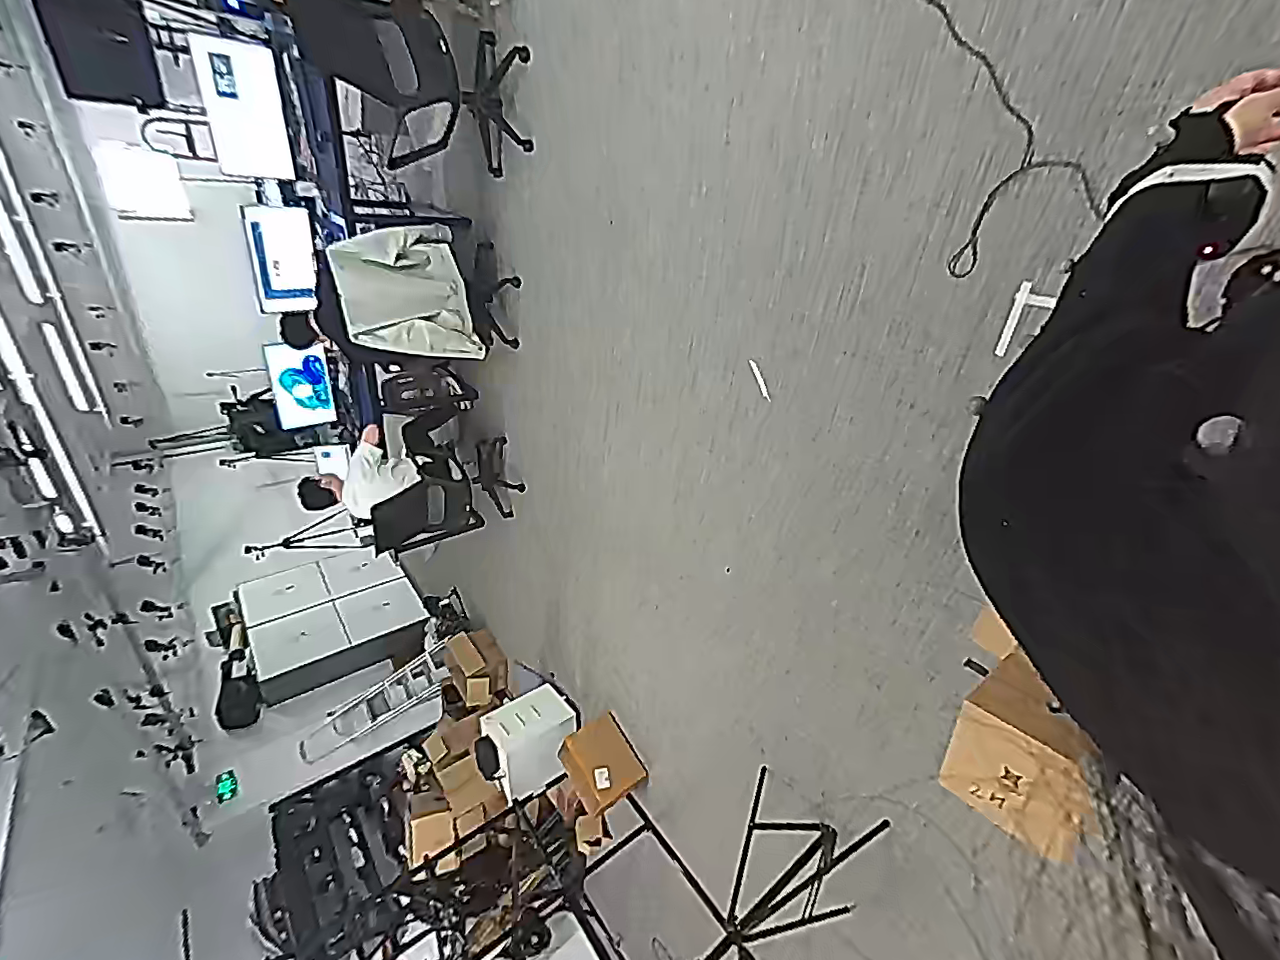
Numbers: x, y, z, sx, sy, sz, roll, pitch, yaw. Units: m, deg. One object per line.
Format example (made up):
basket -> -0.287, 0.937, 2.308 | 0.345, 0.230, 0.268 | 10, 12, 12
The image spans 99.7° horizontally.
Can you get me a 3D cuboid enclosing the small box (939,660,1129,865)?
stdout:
small box -> 0.586, 0.403, 0.806 | 0.168, 0.176, 0.179 | 28, 125, 47
